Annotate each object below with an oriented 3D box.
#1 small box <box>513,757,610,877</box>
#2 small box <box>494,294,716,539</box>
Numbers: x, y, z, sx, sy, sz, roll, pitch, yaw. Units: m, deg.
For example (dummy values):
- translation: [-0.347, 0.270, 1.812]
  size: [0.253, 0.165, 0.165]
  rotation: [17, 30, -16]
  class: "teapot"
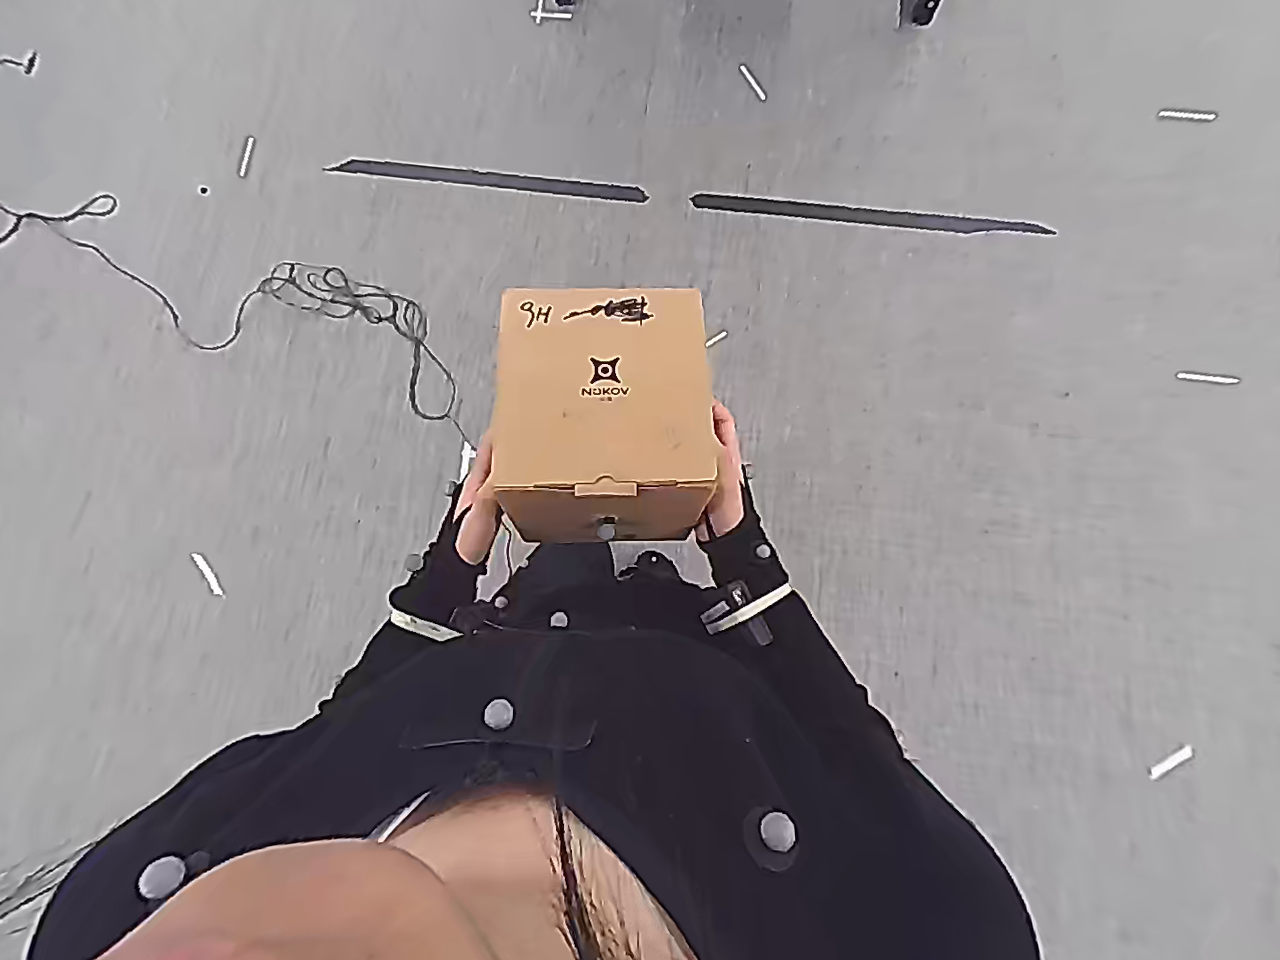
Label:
- translation: [-0.162, 0.724, 1.181]
  size: [0.179, 0.176, 0.168]
  rotation: [5, 81, 3]
  class: "small box"
- translation: [-0.029, -0.044, 0.492]
  size: [0.168, 0.176, 0.179]
  rotation: [-1, 71, -4]
  class: "small box"
